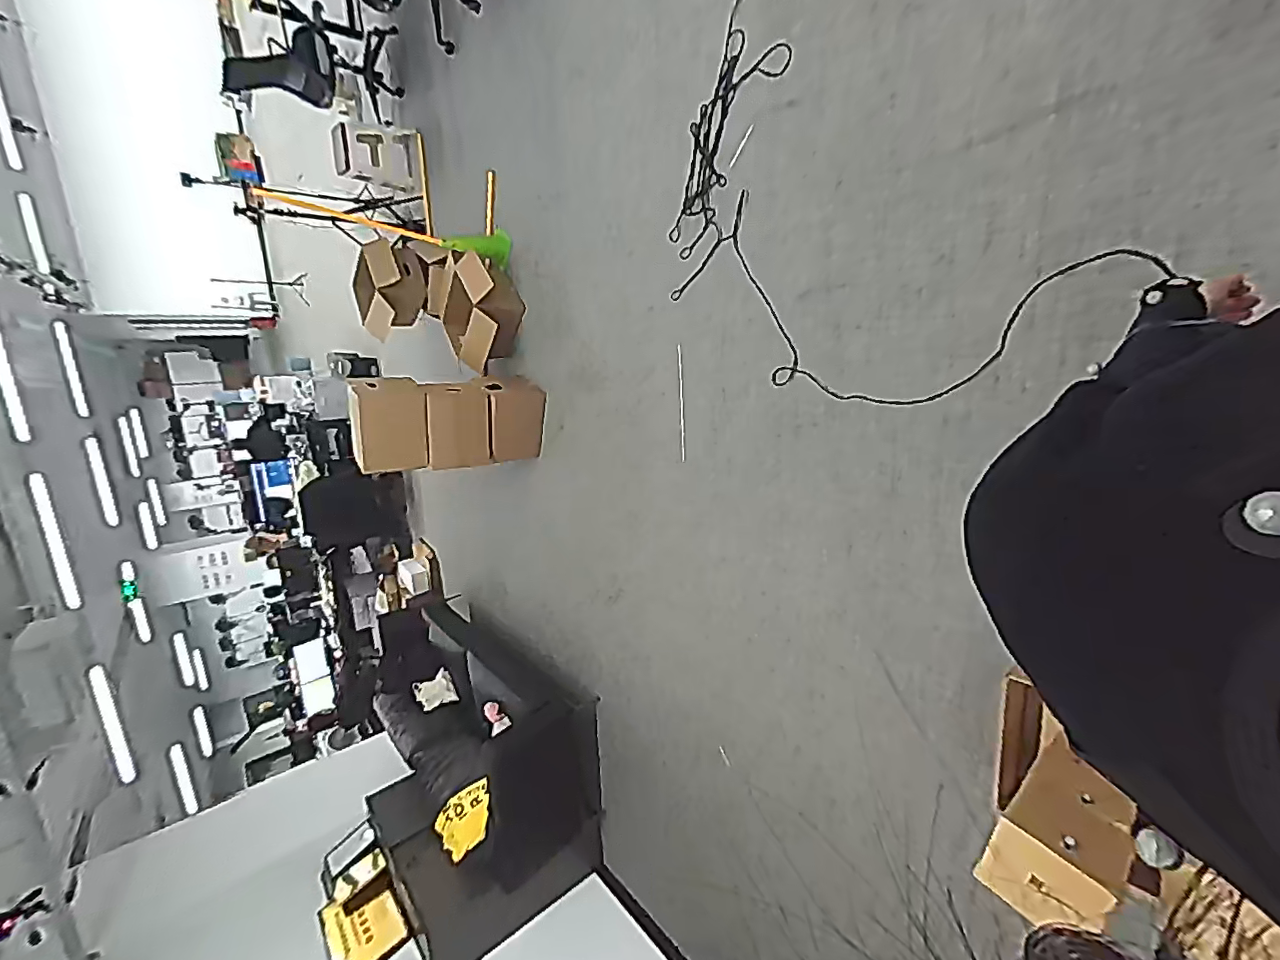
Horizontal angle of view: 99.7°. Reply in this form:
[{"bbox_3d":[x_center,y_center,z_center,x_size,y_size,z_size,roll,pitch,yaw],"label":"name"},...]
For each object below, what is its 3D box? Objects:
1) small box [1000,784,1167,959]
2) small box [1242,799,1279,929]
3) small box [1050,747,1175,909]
[{"bbox_3d":[0.811,0.698,0.993,0.179,0.176,0.168,28,120,45],"label":"small box"},{"bbox_3d":[1.239,0.722,0.977,0.179,0.176,0.168,7,104,55],"label":"small box"},{"bbox_3d":[0.945,0.684,1.086,0.168,0.176,0.179,7,105,51],"label":"small box"}]
